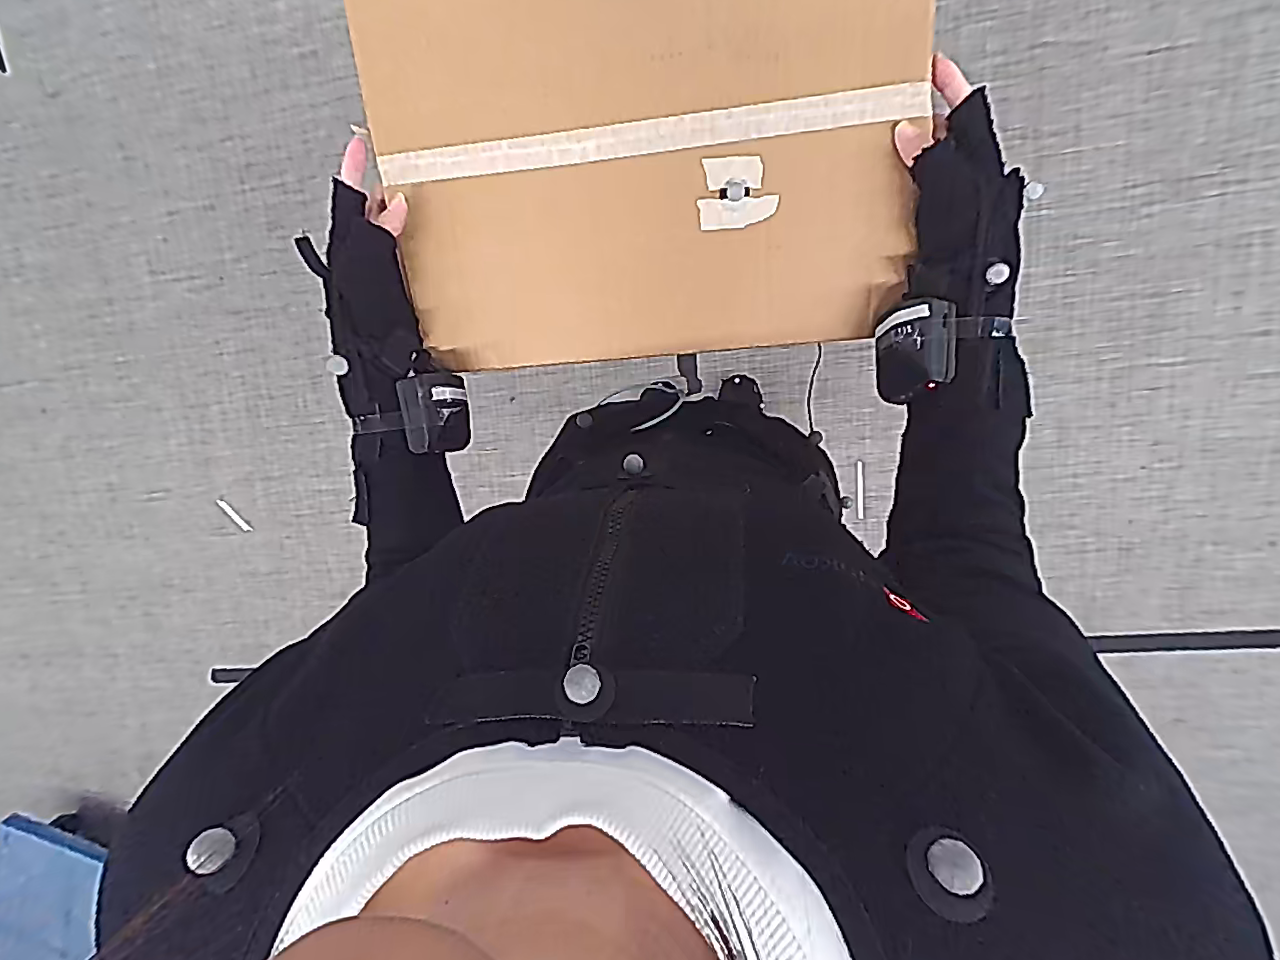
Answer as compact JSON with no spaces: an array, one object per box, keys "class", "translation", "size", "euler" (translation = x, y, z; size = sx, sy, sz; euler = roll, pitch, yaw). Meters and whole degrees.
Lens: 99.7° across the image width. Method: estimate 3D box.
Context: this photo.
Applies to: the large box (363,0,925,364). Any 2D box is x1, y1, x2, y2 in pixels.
[{"class":"large box","translation":[0.013,-0.307,0.550],"size":[0.408,0.320,0.320],"euler":[-4,108,5]}]
